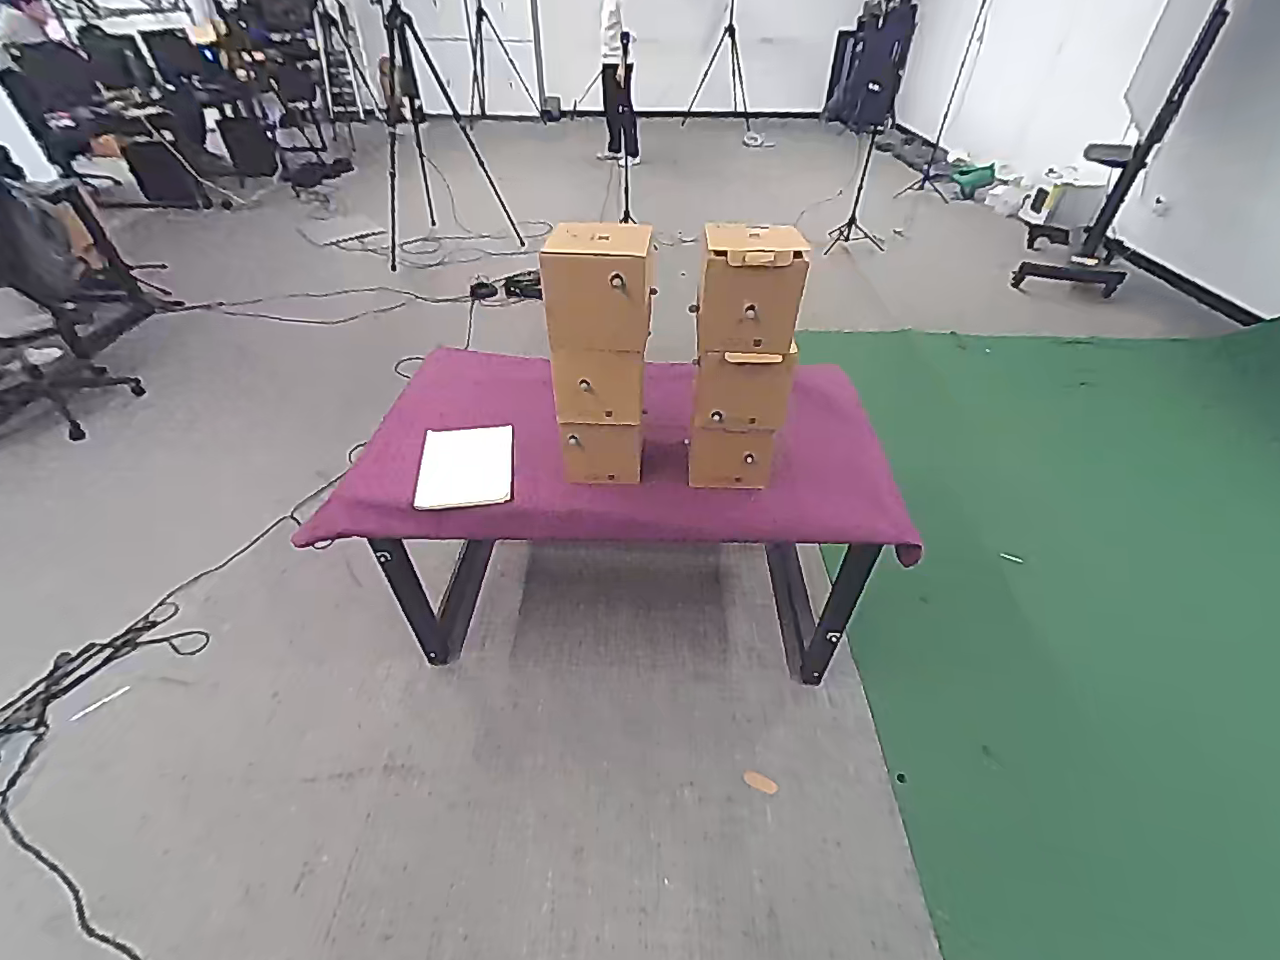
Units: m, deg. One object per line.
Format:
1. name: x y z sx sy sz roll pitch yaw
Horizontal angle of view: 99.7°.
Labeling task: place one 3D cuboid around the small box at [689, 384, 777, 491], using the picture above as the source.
1. small box: 0.197 -0.093 1.190 0.168 0.176 0.179 3 41 1

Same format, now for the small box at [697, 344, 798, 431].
1. small box: 0.204 -0.212 1.079 0.168 0.176 0.179 2 40 0

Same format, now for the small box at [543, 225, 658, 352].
1. small box: -0.062 -0.342 0.971 0.179 0.176 0.168 3 40 4

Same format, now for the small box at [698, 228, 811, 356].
1. small box: 0.195 -0.336 0.971 0.168 0.176 0.179 4 42 1

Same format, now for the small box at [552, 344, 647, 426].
1. small box: -0.072 -0.222 1.084 0.168 0.176 0.179 2 41 2
